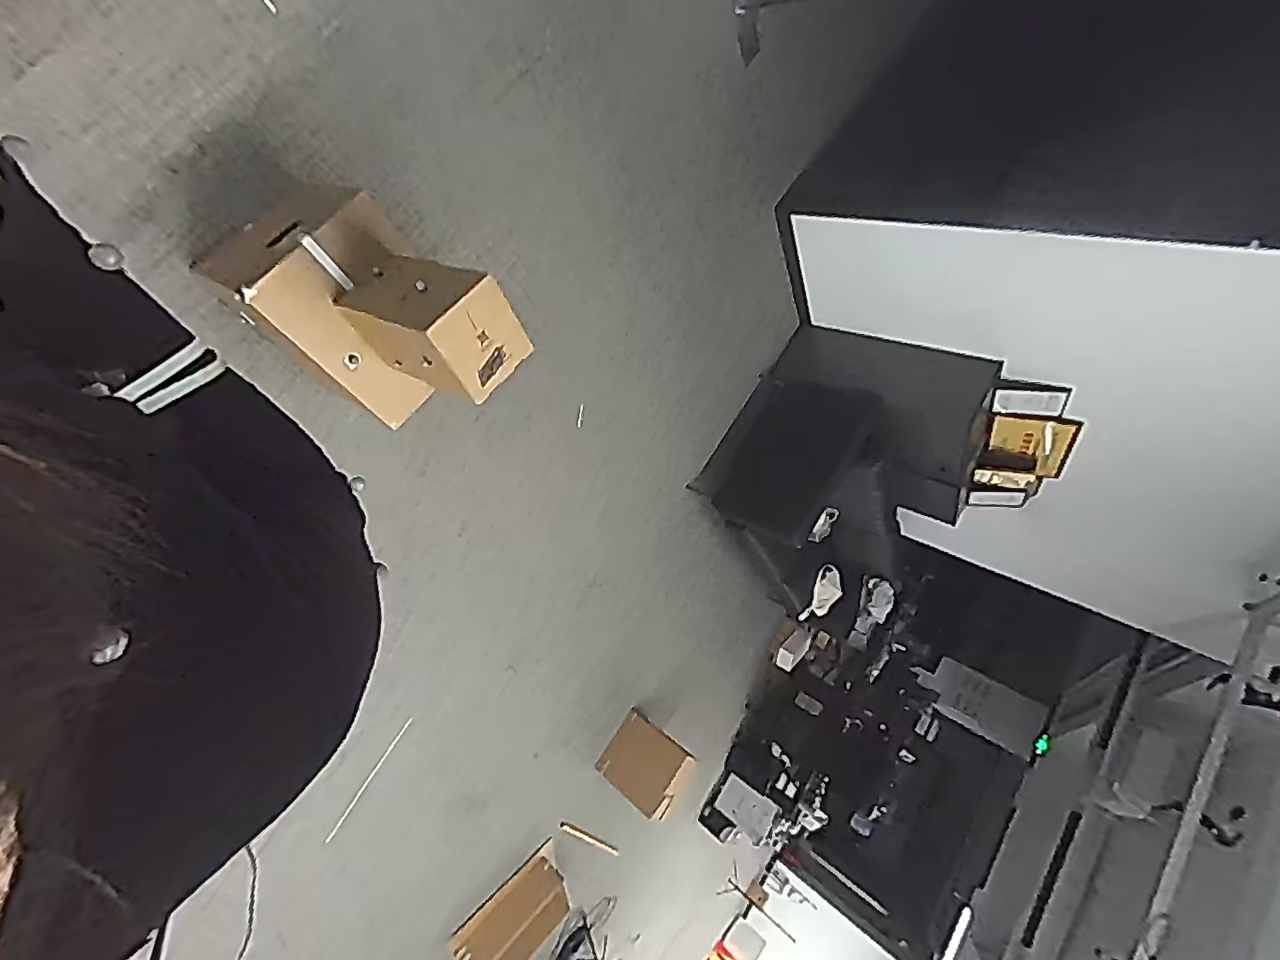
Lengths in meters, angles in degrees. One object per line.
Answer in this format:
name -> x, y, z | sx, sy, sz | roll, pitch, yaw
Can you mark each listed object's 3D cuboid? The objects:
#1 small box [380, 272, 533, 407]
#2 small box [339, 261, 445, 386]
small box -> -0.344, -0.270, 1.023 | 0.168, 0.176, 0.179 | -53, 143, -22
small box -> -0.468, -0.327, 1.114 | 0.168, 0.176, 0.179 | -53, 144, -21
